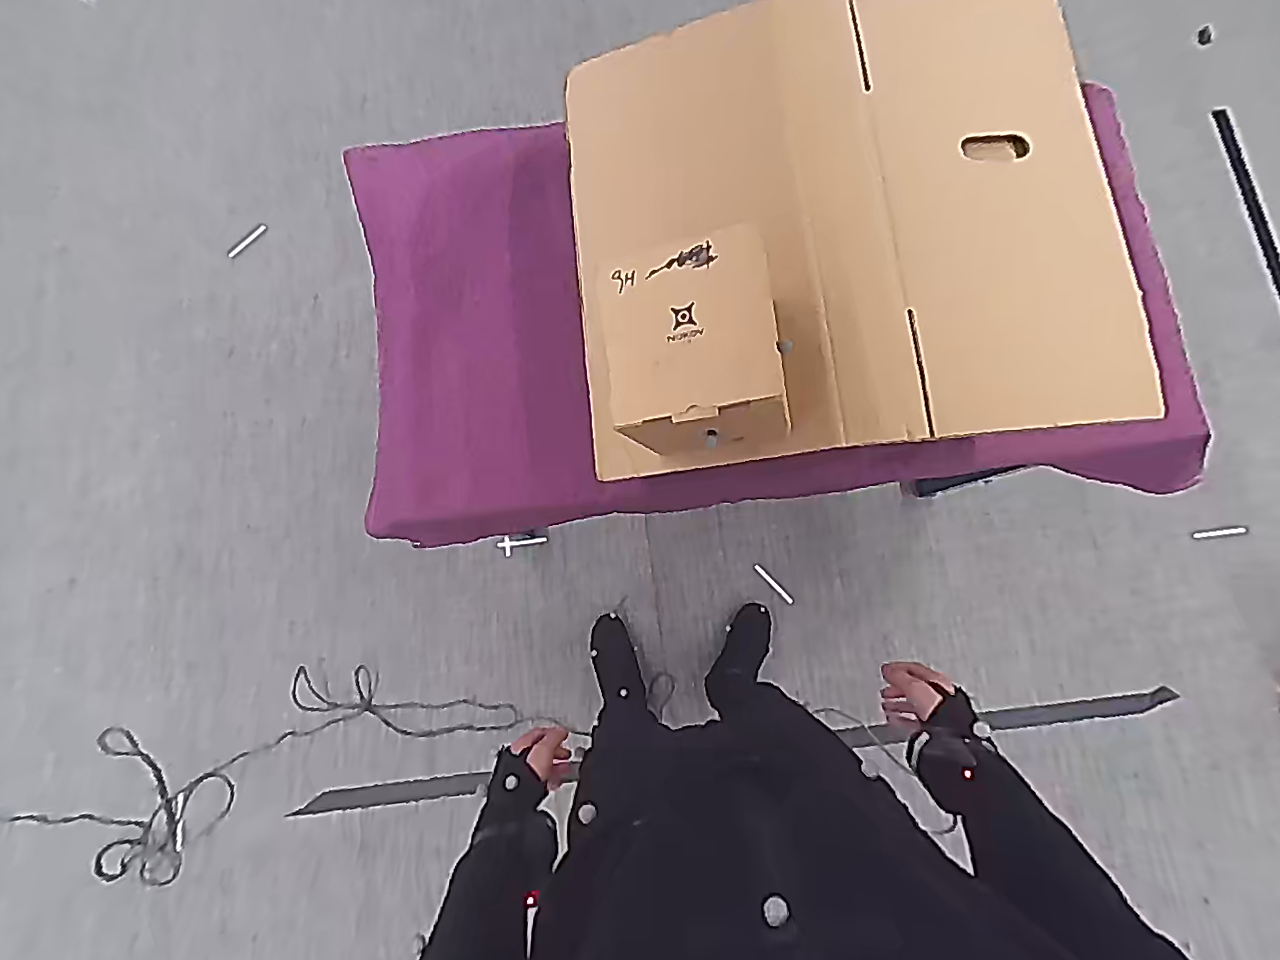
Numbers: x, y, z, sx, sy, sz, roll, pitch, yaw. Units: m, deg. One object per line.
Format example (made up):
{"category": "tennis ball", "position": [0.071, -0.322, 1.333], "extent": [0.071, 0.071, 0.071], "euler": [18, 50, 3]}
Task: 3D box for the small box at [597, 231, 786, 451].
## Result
{"category": "small box", "position": [0.065, -0.132, 0.596], "extent": [0.168, 0.176, 0.179], "euler": [-8, 82, 17]}
